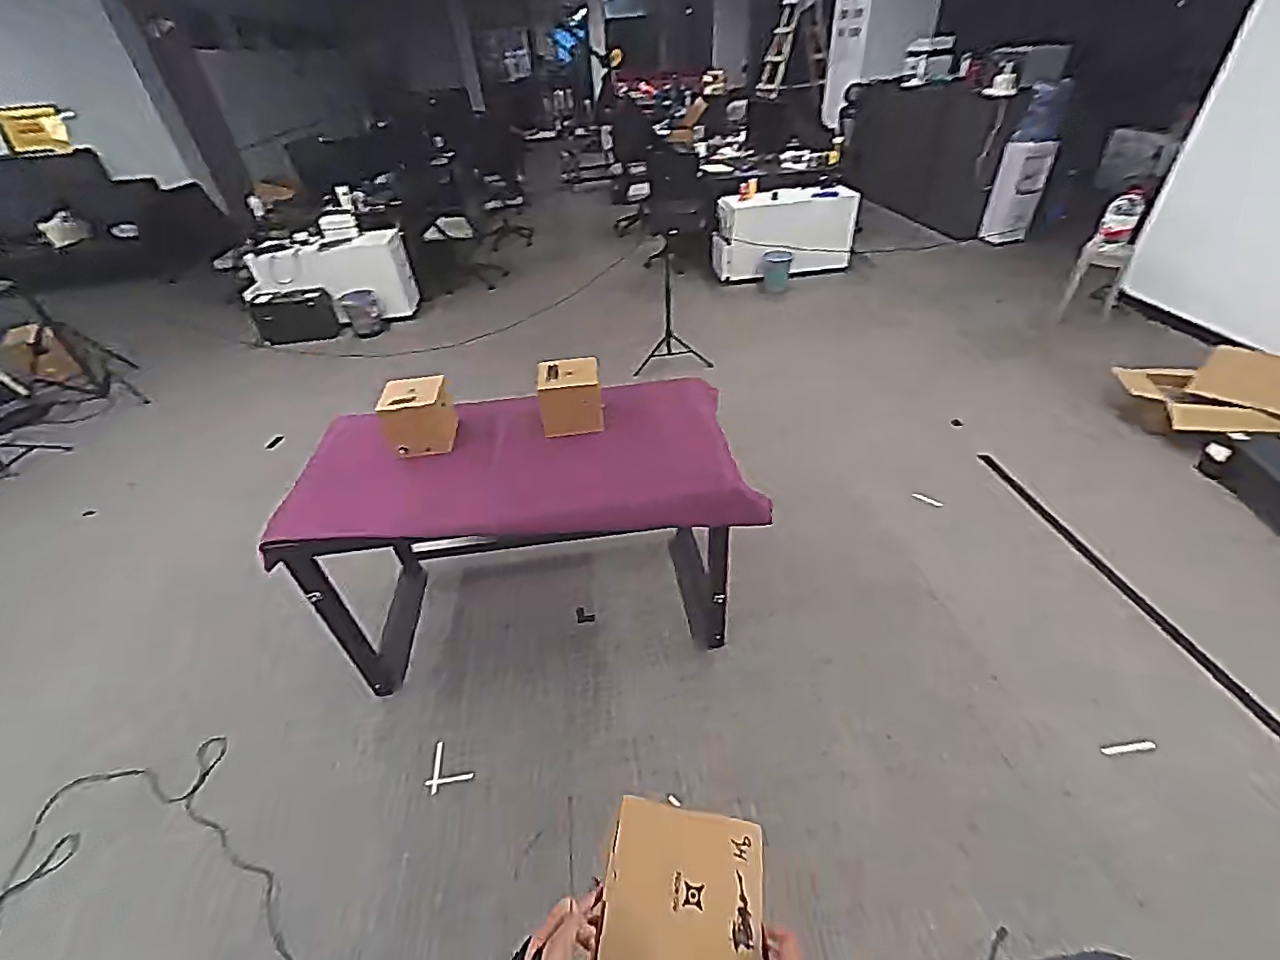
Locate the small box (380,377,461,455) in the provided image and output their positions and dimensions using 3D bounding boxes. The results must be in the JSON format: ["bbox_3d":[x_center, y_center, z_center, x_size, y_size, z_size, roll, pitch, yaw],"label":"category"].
[{"bbox_3d":[-0.648,-0.186,1.618,0.168,0.176,0.179,-7,39,-4],"label":"small box"}]

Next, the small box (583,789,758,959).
[{"bbox_3d":[0.034,0.503,0.652,0.179,0.176,0.168,12,45,1],"label":"small box"}]
